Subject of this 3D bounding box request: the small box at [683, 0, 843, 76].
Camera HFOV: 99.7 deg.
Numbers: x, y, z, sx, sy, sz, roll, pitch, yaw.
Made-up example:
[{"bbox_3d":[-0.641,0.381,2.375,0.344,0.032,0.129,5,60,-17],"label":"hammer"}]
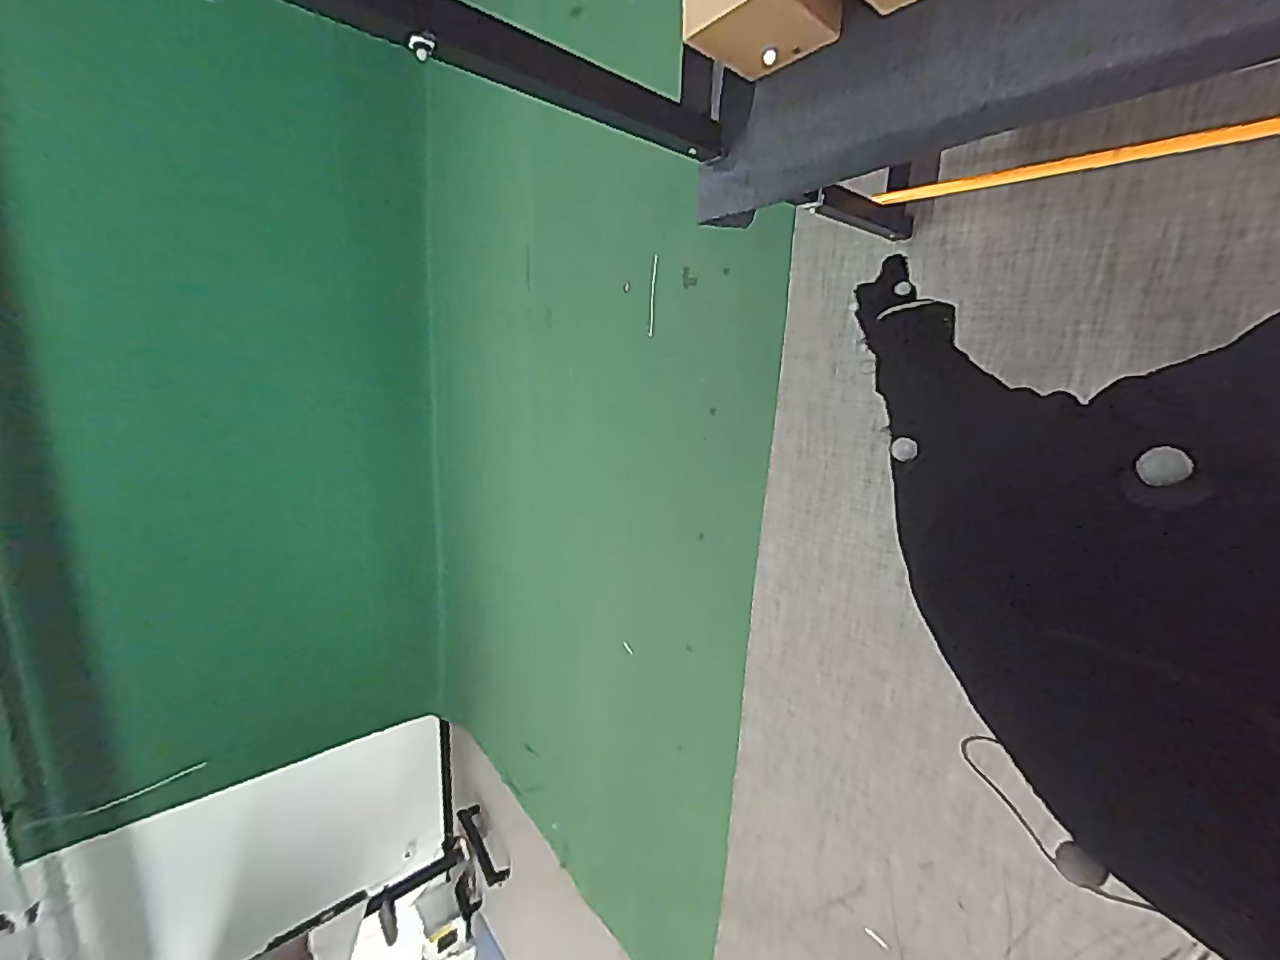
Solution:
[{"bbox_3d":[0.182,-0.736,0.780,0.168,0.176,0.179,14,106,49],"label":"small box"}]
